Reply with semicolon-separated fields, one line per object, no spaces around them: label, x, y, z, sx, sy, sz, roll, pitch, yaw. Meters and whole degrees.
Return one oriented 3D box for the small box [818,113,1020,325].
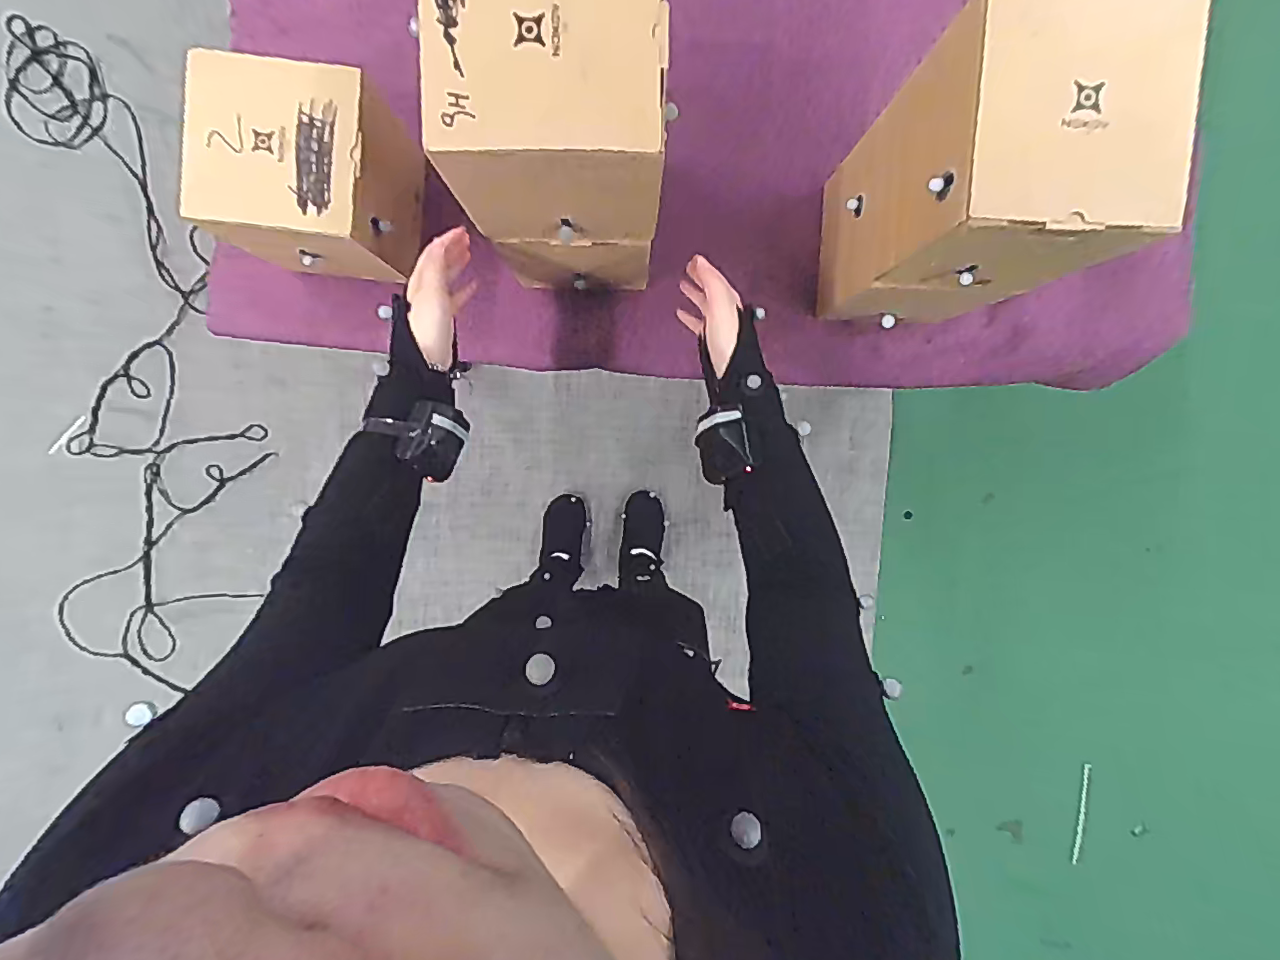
small box;0.322;-0.293;0.642;0.168;0.176;0.179;2;96;-1

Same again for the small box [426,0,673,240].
small box;-0.067;-0.321;0.464;0.179;0.176;0.168;0;93;-2

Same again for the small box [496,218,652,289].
small box;-0.071;-0.336;0.627;0.168;0.176;0.179;1;94;-1

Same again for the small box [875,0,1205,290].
small box;0.327;-0.283;0.480;0.168;0.176;0.179;2;95;-1
